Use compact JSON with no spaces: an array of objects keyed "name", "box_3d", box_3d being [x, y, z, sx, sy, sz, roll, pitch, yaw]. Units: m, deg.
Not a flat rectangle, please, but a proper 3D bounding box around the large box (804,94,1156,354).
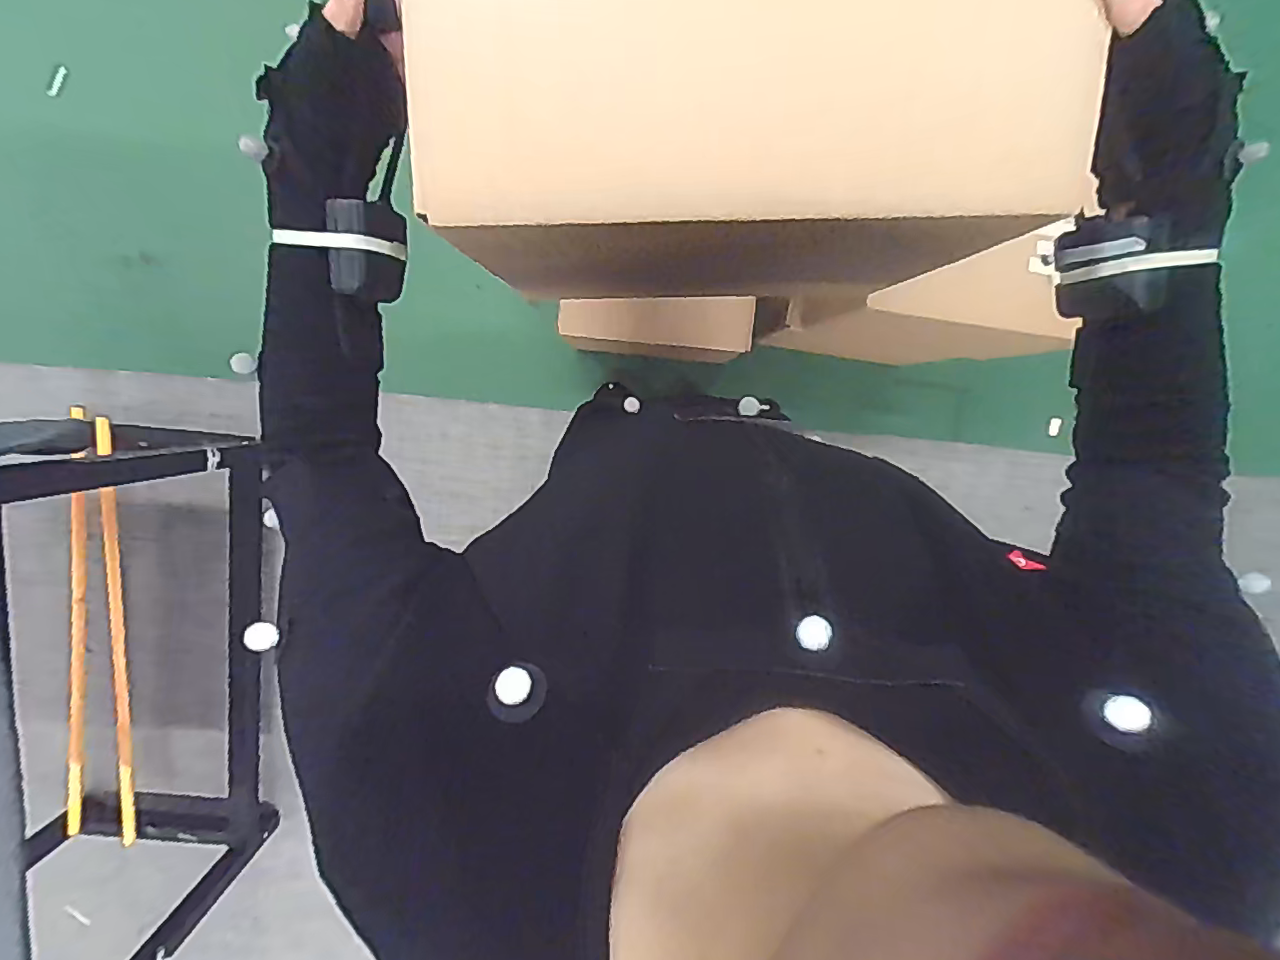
[{"name":"large box","box_3d":[0.554,-0.416,0.967,0.408,0.320,0.320,7,99,-3]}]
